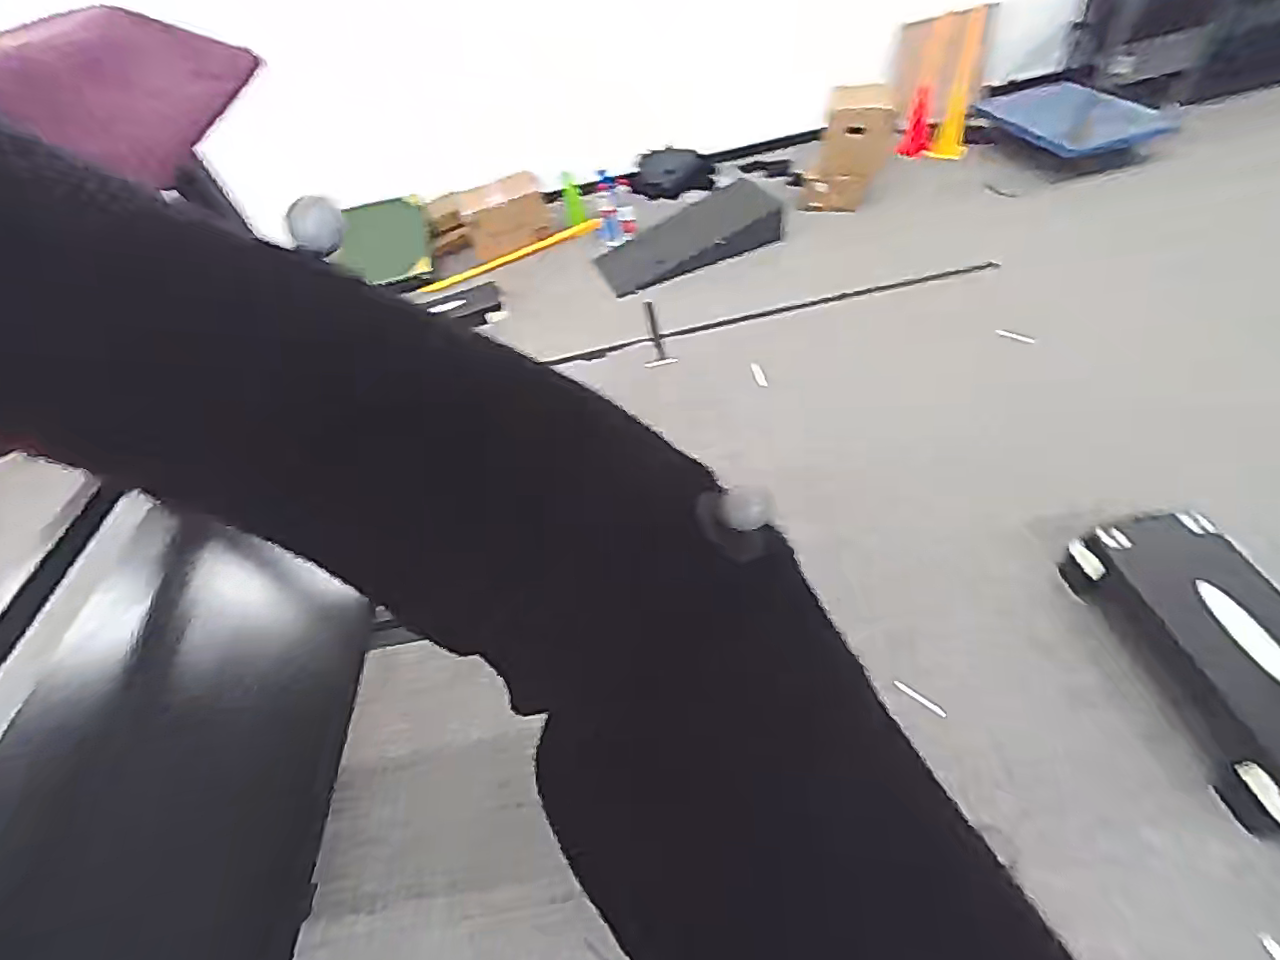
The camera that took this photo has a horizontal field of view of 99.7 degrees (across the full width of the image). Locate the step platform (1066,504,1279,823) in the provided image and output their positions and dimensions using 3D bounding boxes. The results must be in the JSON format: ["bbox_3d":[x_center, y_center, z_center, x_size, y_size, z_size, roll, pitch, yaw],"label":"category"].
[{"bbox_3d":[1.313,0.366,1.228,0.286,0.204,0.684,-8,47,7],"label":"step platform"}]
